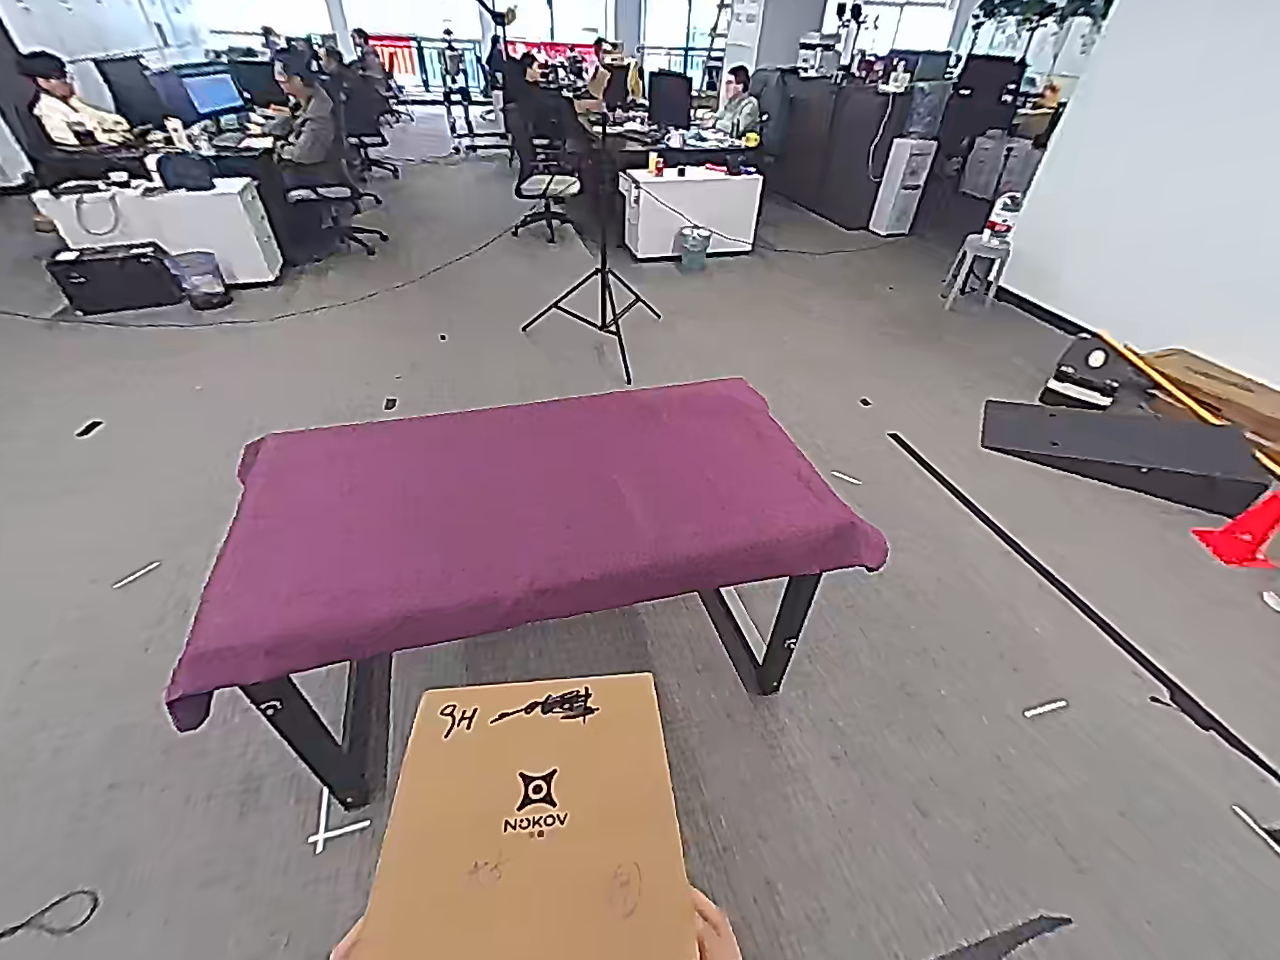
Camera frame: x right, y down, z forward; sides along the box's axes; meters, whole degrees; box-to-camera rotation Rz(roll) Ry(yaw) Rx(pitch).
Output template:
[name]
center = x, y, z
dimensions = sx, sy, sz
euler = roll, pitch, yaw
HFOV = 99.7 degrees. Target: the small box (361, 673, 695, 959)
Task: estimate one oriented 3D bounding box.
[small box]
center = -0.062, 0.260, 0.365
dimensions = 0.168, 0.176, 0.179
euler = -1, 33, -6
